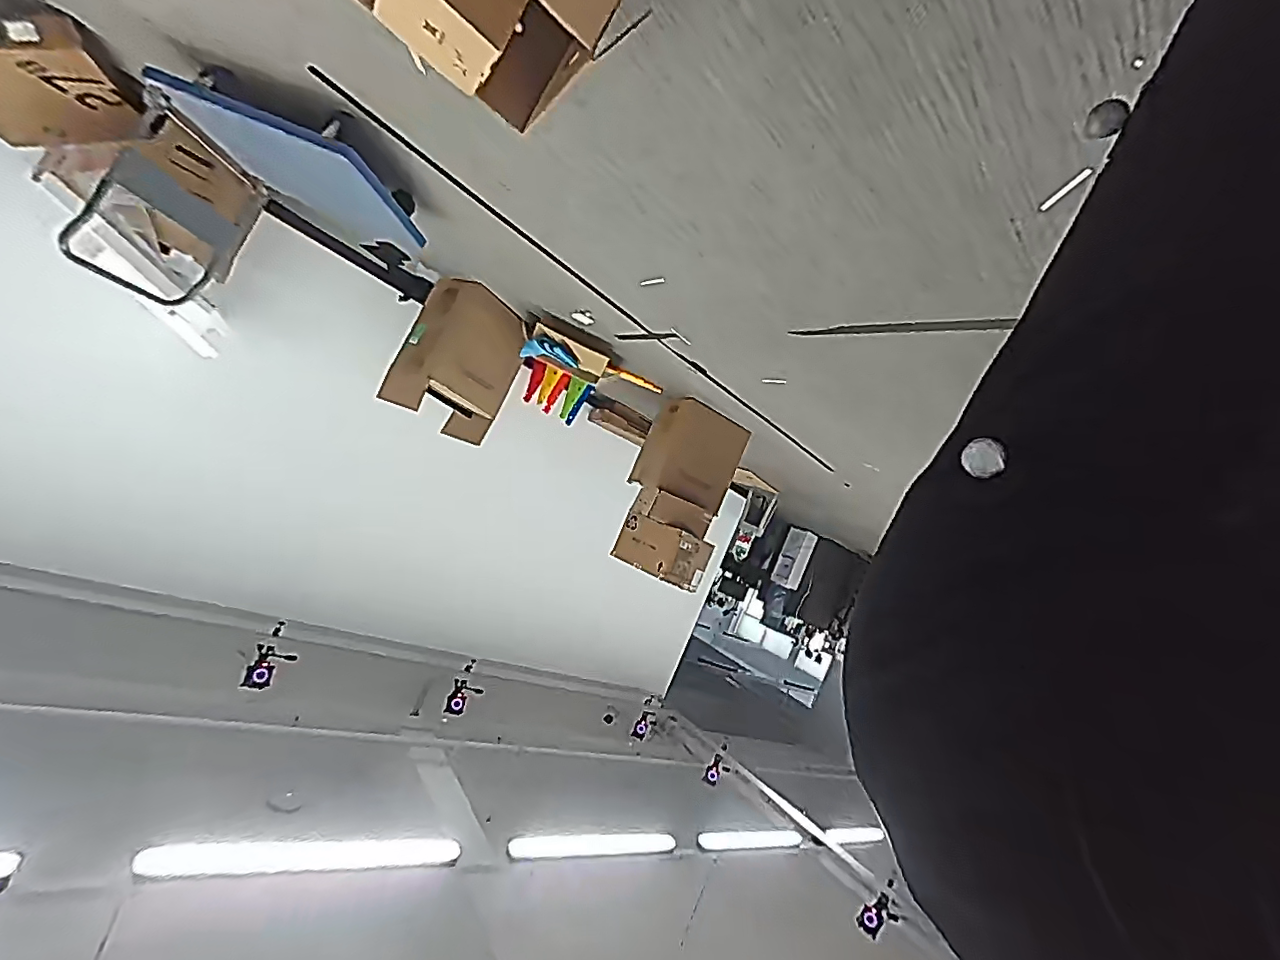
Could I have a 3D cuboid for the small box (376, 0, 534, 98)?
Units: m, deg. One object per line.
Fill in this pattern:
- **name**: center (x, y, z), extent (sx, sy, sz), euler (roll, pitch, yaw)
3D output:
- **small box**: center (-0.280, -0.766, 0.847), extent (0.179, 0.176, 0.168), euler (28, 174, -34)
